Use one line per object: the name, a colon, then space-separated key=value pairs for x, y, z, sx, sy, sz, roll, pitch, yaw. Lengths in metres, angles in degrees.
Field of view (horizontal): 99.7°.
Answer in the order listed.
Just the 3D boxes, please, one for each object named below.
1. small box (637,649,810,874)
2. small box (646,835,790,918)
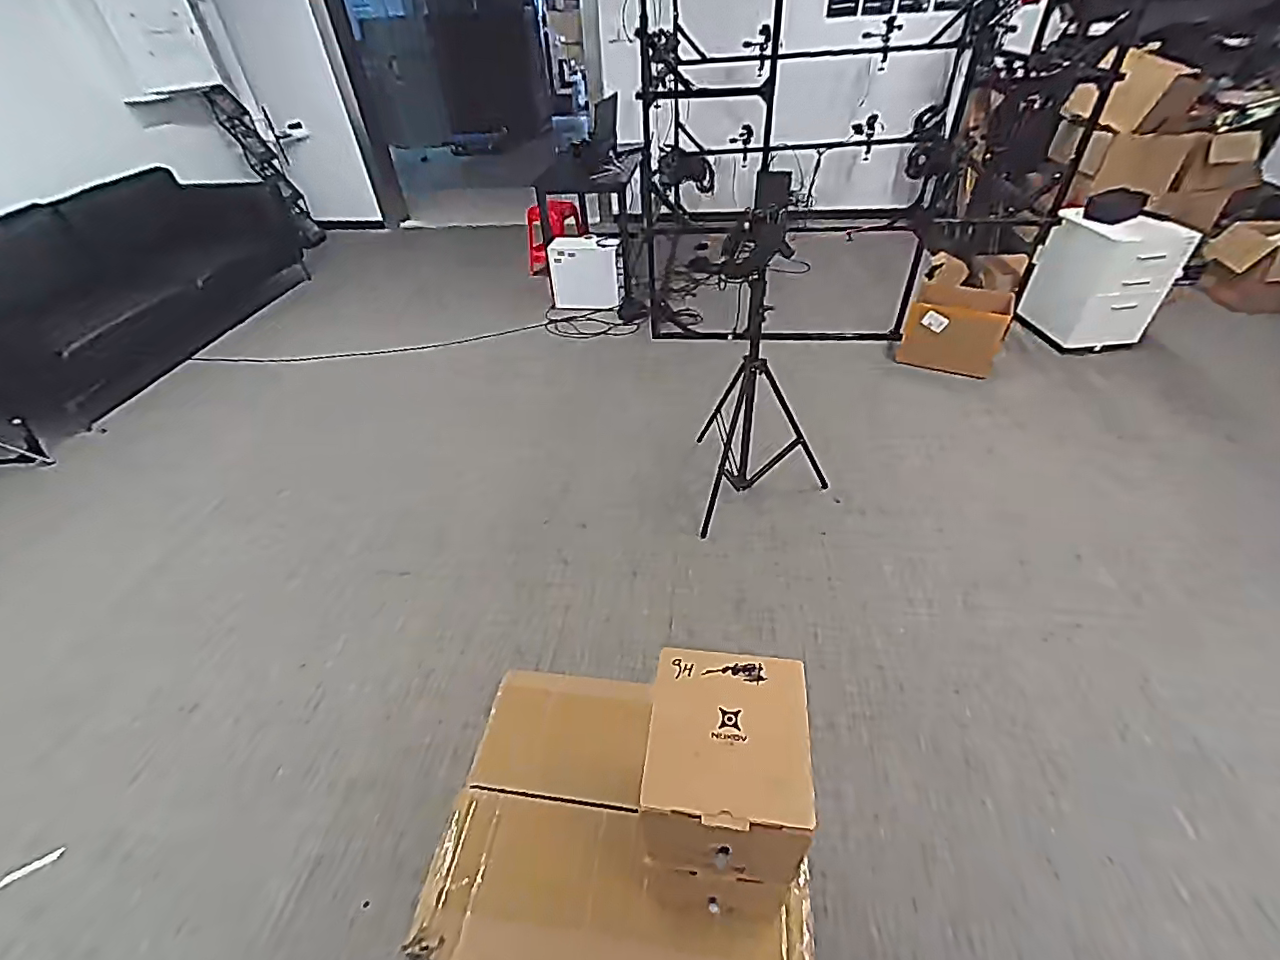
small box: x=0.096 y=0.321 z=0.618 sx=0.168 sy=0.176 sz=0.179 roll=2 pitch=42 yaw=9
small box: x=0.103 y=0.447 z=0.723 sx=0.168 sy=0.176 sz=0.179 roll=1 pitch=41 yaw=8
